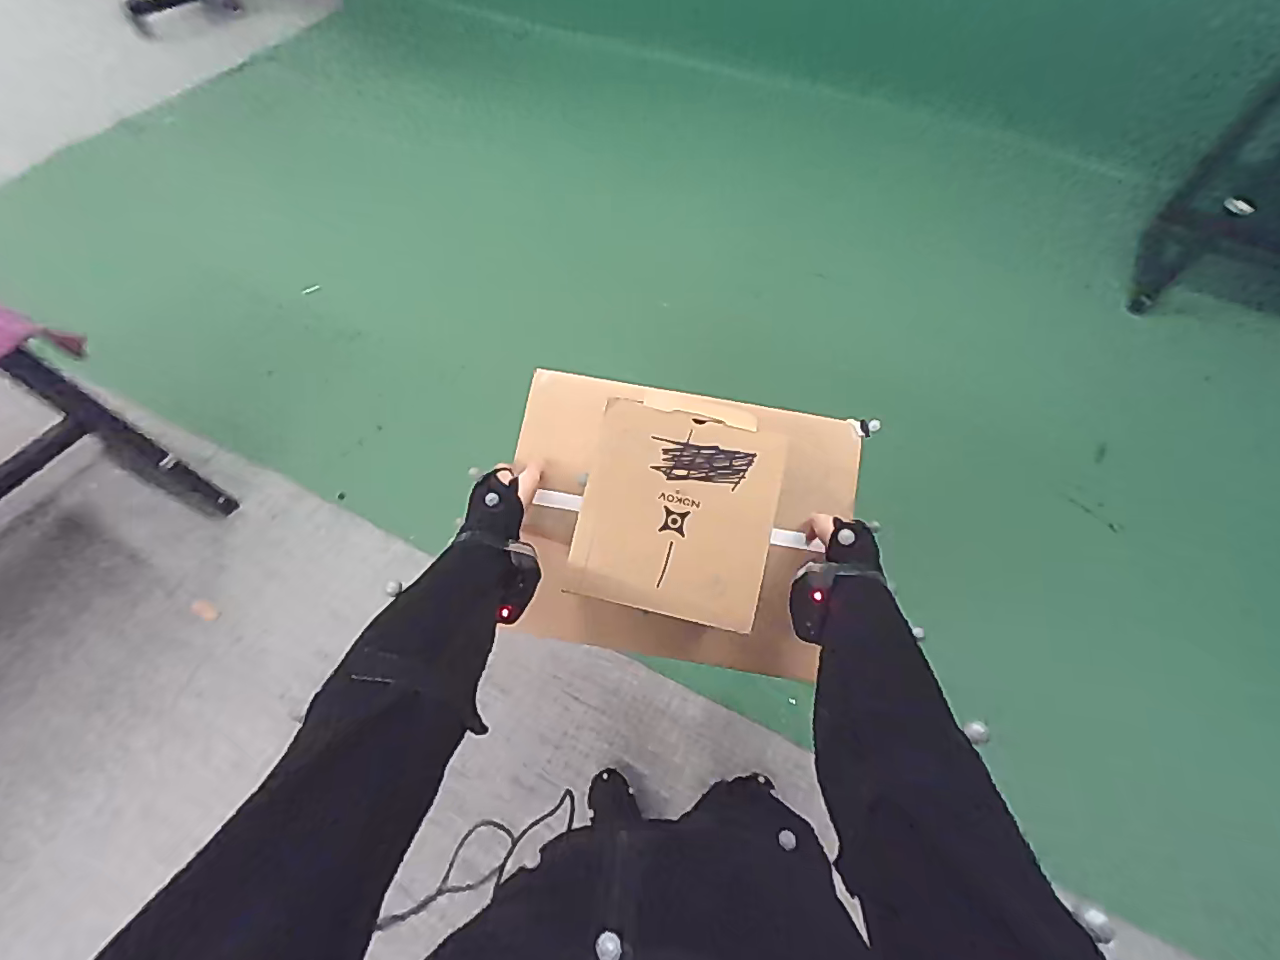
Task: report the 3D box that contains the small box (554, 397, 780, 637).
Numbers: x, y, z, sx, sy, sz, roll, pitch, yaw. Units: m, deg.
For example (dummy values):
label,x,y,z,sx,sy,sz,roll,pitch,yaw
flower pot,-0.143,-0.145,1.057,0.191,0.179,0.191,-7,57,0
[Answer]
label,x,y,z,sx,sy,sz,roll,pitch,yaw
small box,0.023,0.039,0.536,0.168,0.176,0.179,12,83,1
